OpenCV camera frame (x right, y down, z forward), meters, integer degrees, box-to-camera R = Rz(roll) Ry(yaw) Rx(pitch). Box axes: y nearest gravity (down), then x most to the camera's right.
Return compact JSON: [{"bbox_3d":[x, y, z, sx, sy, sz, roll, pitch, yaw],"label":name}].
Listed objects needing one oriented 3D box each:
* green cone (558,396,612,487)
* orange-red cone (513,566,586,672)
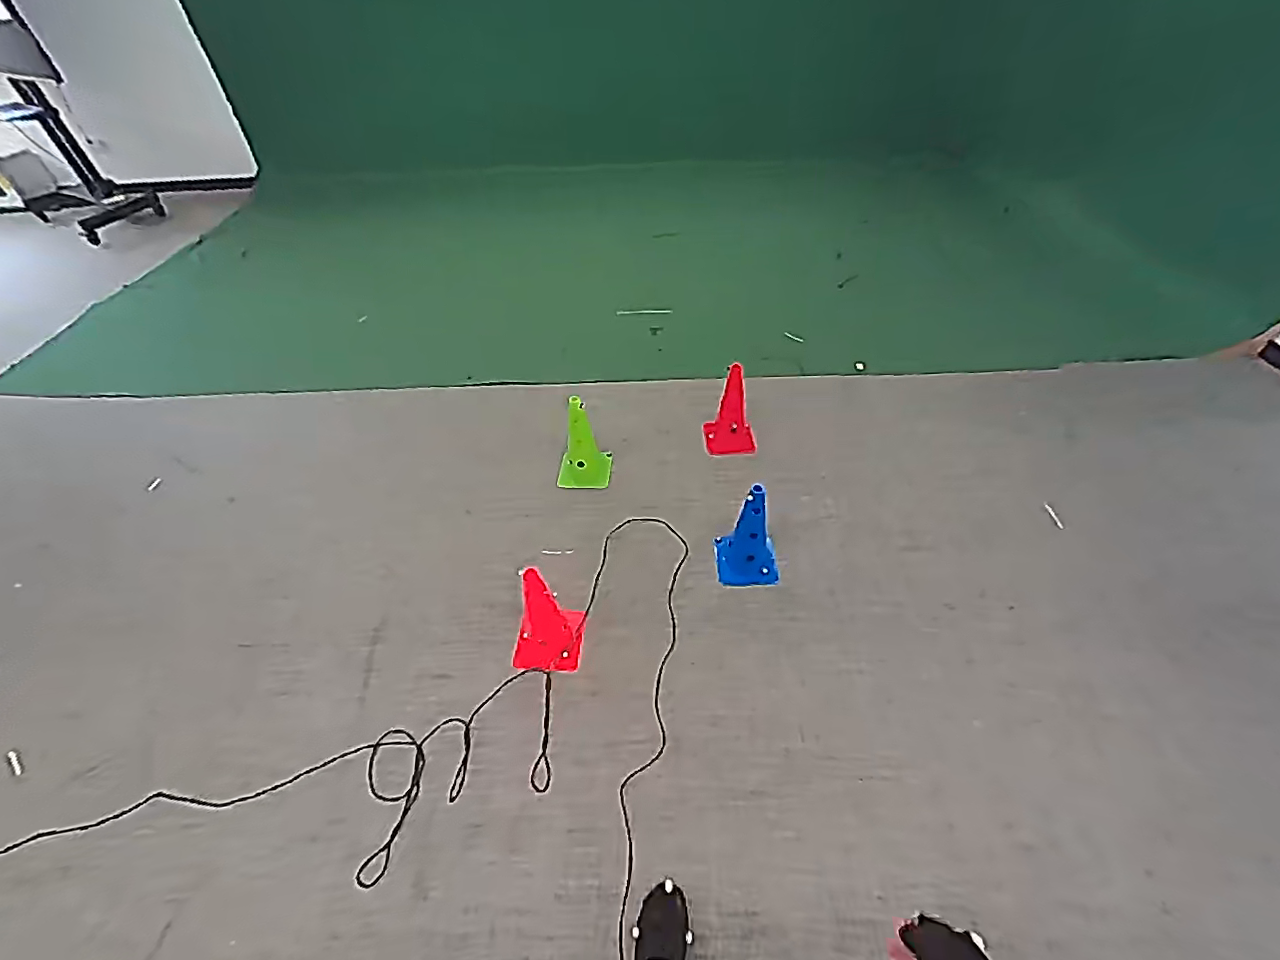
[{"bbox_3d":[-0.226,-0.166,2.031,0.200,0.368,0.202,0,47,4],"label":"green cone"},{"bbox_3d":[-0.275,0.361,1.526,0.198,0.360,0.199,3,44,5],"label":"orange-red cone"}]
